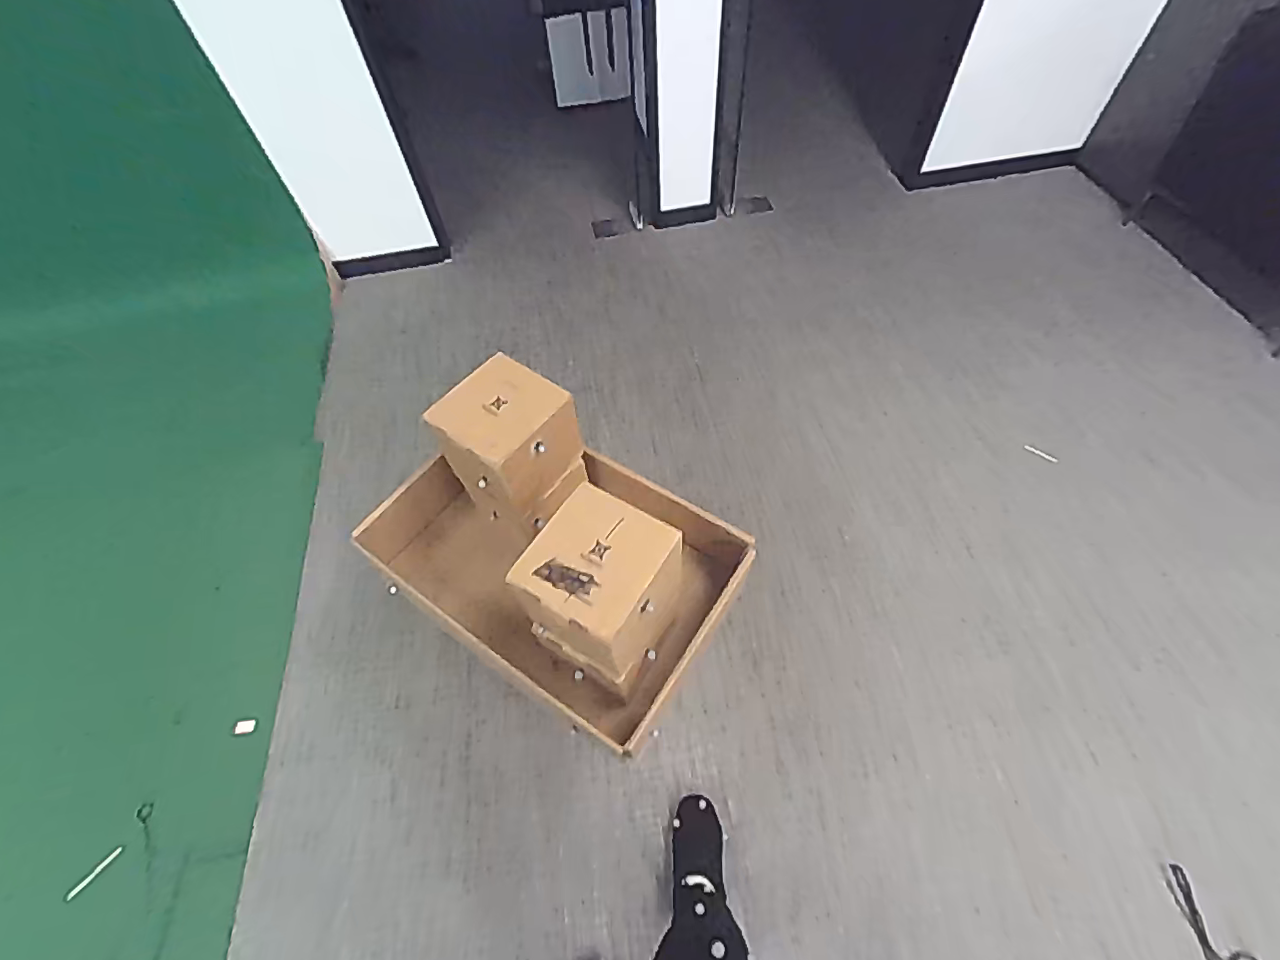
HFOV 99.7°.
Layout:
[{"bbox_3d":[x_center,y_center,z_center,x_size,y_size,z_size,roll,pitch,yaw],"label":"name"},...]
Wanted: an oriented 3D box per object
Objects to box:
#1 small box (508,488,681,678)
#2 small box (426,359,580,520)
[{"bbox_3d":[-0.054,0.151,0.768,0.168,0.176,0.179,27,61,19],"label":"small box"},{"bbox_3d":[-0.219,-0.064,0.920,0.168,0.176,0.179,33,64,20],"label":"small box"}]
